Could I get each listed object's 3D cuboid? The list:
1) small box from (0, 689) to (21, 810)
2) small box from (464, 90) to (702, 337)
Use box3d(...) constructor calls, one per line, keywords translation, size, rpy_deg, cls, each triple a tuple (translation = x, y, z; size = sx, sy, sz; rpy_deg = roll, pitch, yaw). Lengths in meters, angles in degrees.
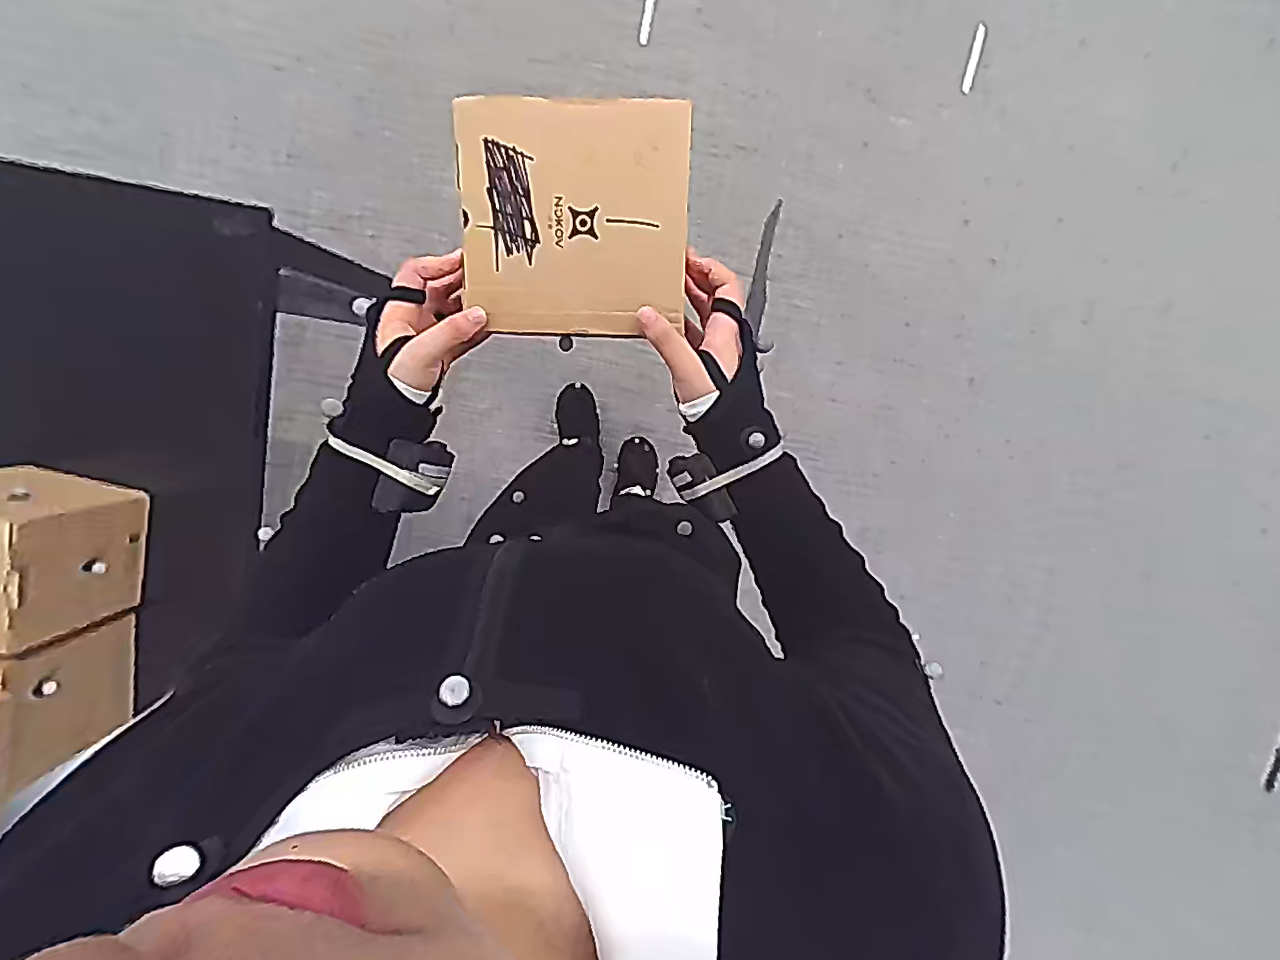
box3d(translation=(-0.814, 0.313, 0.550), size=(0.179, 0.176, 0.168), rpy_deg=(13, 100, -3), cls="small box")
box3d(translation=(-0.042, -0.218, 0.486), size=(0.179, 0.176, 0.168), rpy_deg=(3, 104, 1), cls="small box")
